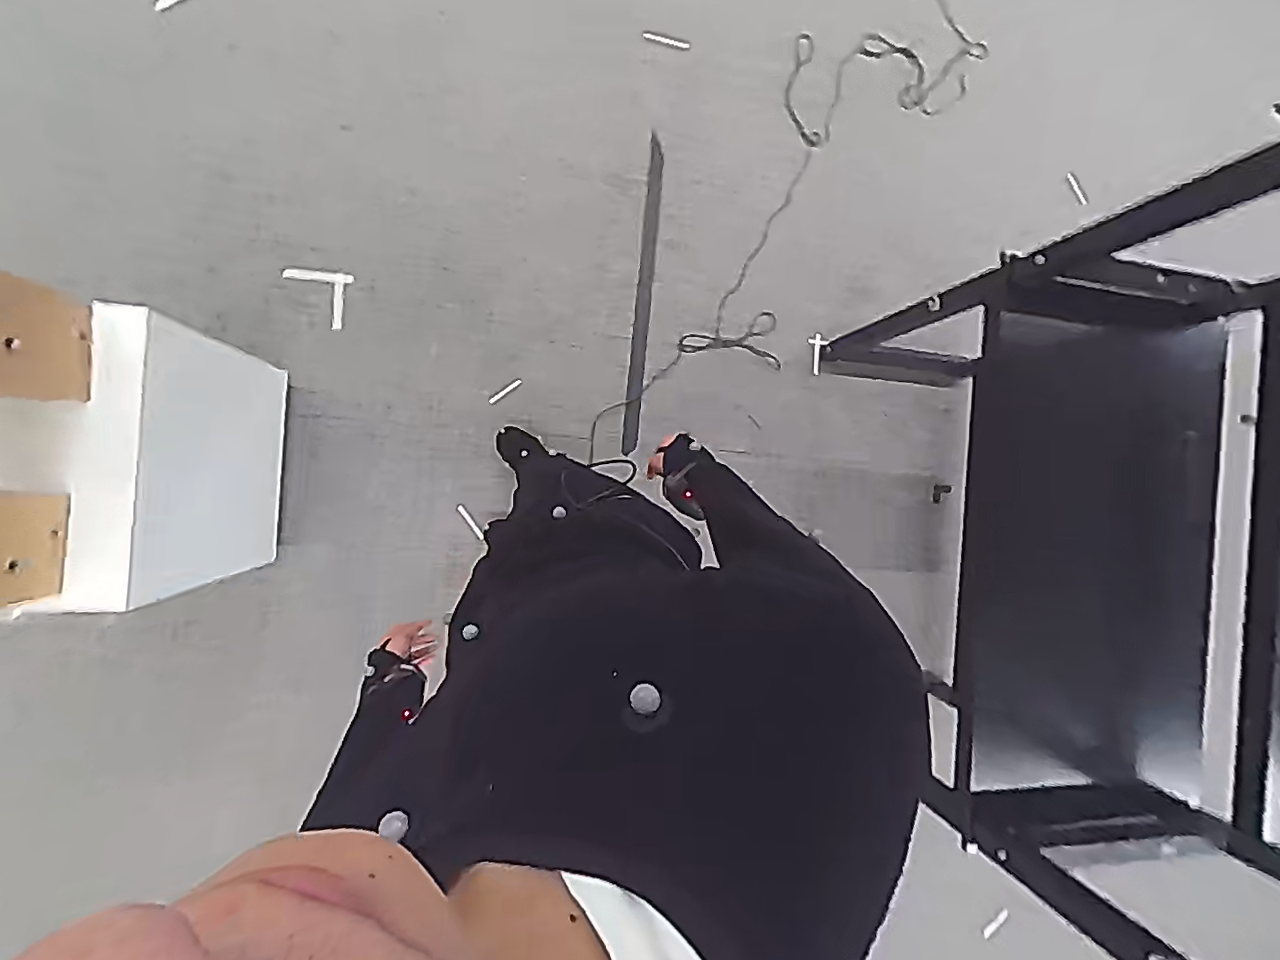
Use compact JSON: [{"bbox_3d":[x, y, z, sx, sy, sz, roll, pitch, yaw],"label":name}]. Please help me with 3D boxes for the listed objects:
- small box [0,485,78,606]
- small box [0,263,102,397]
[{"bbox_3d":[-0.989,0.092,0.789,0.179,0.176,0.168,5,89,-11],"label":"small box"},{"bbox_3d":[-0.955,-0.215,0.789,0.179,0.176,0.168,2,92,-11],"label":"small box"}]
